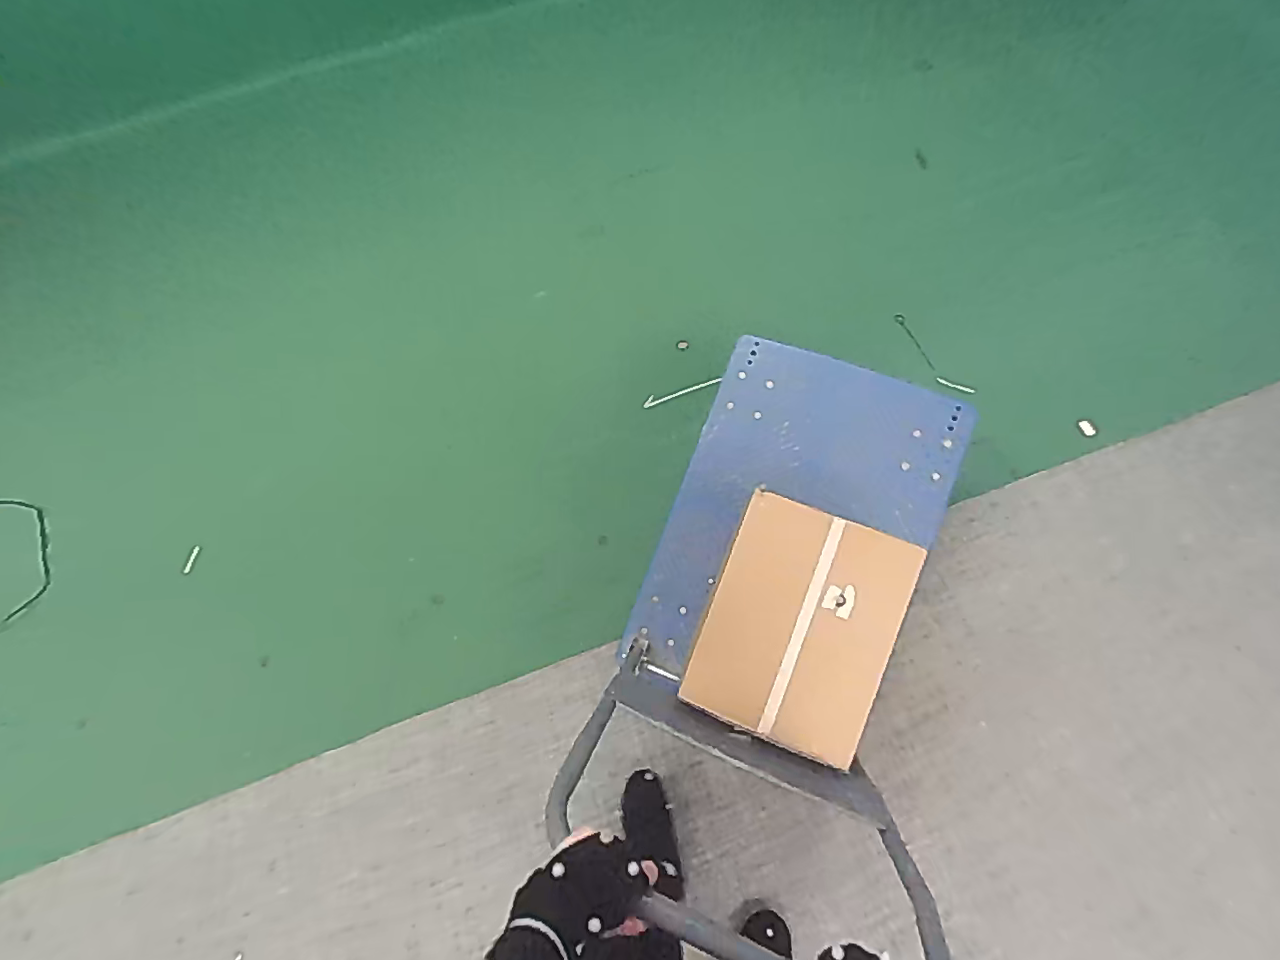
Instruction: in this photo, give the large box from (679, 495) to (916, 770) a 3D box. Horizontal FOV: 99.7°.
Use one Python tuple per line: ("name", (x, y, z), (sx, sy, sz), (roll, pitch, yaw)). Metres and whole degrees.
("large box", (0.298, 0.283, 1.107), (0.320, 0.320, 0.408), (21, 86, 9))
